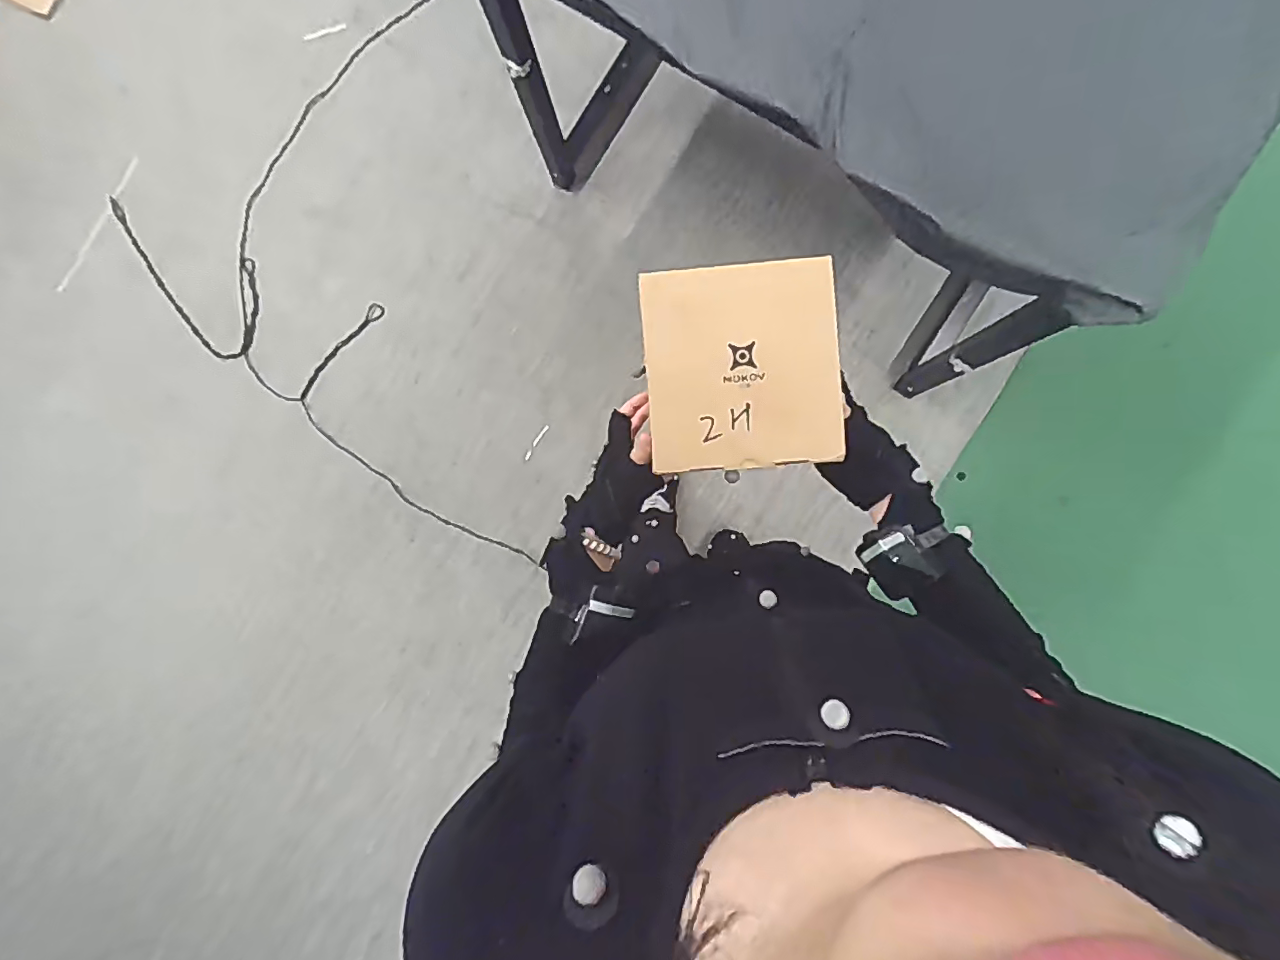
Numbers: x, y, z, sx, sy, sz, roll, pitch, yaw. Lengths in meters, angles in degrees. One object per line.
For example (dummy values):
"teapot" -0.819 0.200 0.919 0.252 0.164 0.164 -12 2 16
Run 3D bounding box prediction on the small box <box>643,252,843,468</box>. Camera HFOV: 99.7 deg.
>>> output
"small box" 0.089 -0.103 0.540 0.168 0.176 0.179 -4 92 2
